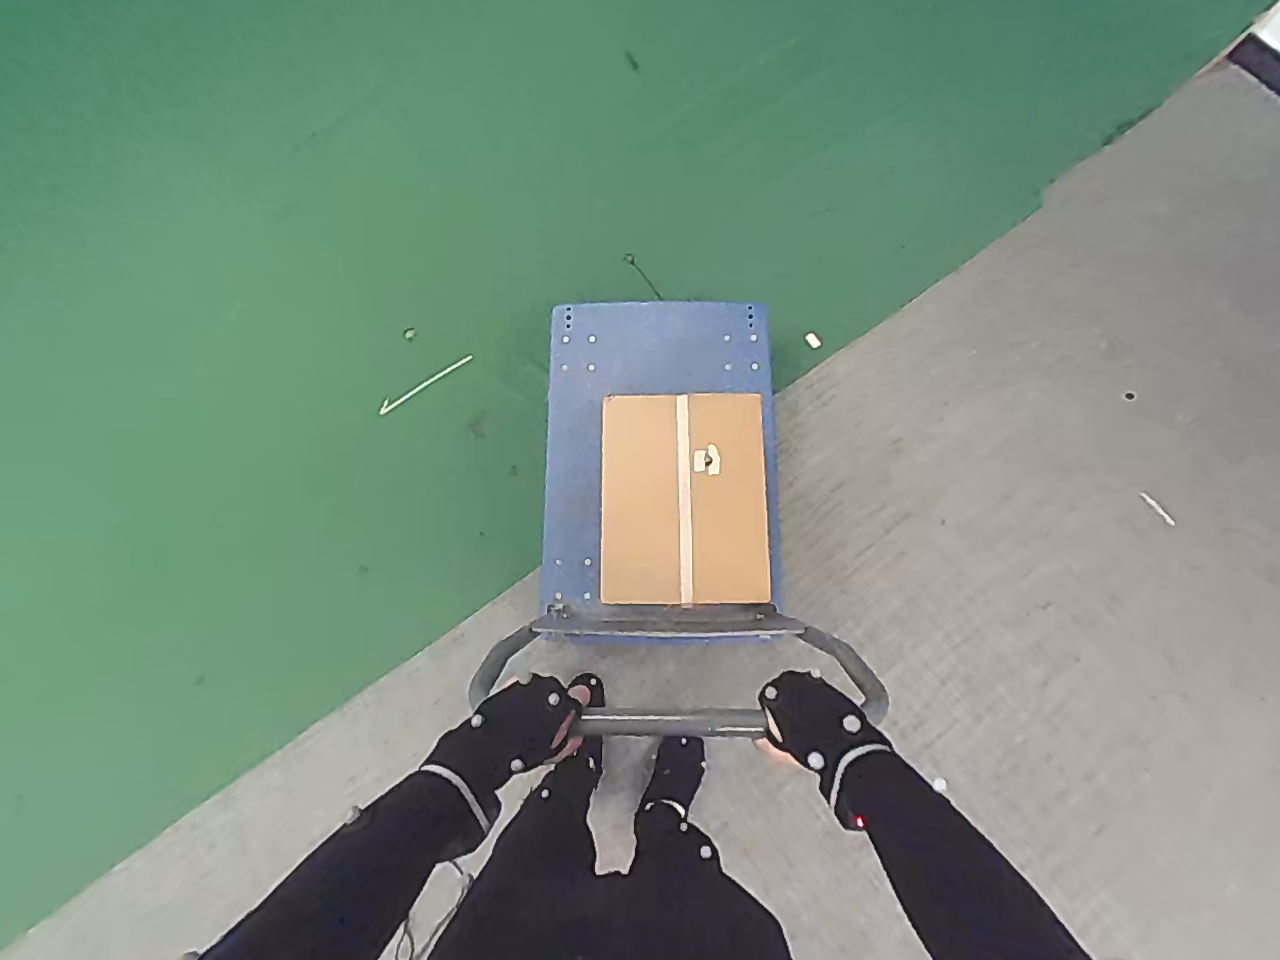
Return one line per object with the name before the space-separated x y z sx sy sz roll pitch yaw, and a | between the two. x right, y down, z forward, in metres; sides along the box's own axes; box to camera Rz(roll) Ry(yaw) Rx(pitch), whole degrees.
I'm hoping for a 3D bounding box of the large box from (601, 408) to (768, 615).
large box | 0.086 0.085 1.188 0.320 0.320 0.408 0 78 0
